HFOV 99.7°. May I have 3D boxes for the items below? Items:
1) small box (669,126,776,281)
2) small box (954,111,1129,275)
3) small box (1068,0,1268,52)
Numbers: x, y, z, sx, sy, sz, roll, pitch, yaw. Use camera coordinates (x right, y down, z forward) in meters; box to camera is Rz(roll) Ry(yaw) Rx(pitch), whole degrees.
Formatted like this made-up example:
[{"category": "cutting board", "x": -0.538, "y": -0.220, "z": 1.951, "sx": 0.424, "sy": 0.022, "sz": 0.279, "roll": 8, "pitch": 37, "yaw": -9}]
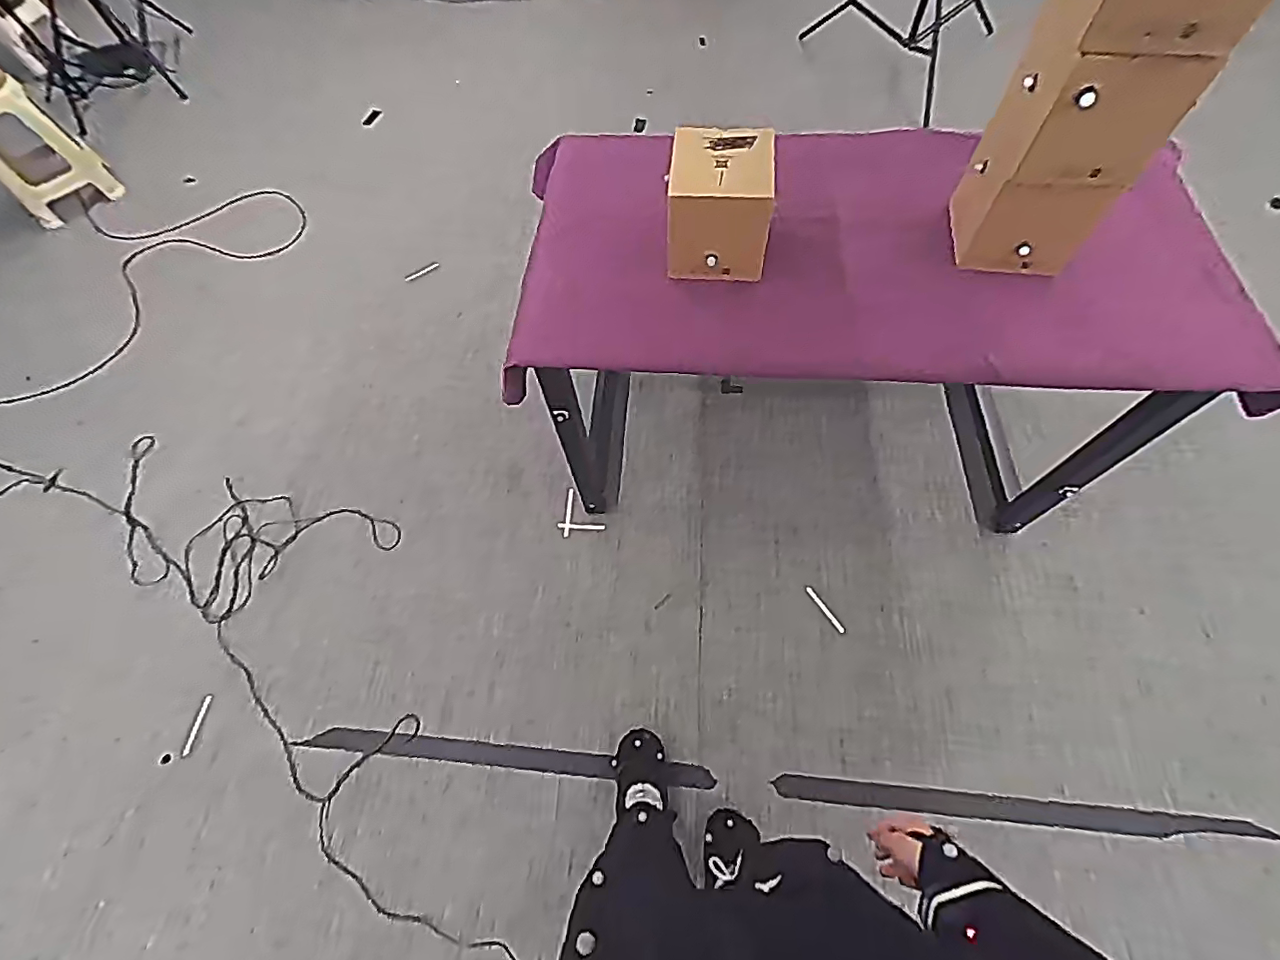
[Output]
[{"category": "small box", "x": 0.137, "y": -0.472, "z": 0.930, "sx": 0.168, "sy": 0.176, "sz": 0.179, "roll": 4, "pitch": 64, "yaw": 6}, {"category": "small box", "x": 0.644, "y": -0.472, "z": 0.895, "sx": 0.168, "sy": 0.176, "sz": 0.179, "roll": 7, "pitch": 64, "yaw": 8}, {"category": "small box", "x": 0.619, "y": -0.615, "z": 0.602, "sx": 0.168, "sy": 0.176, "sz": 0.179, "roll": 9, "pitch": 63, "yaw": 8}]
